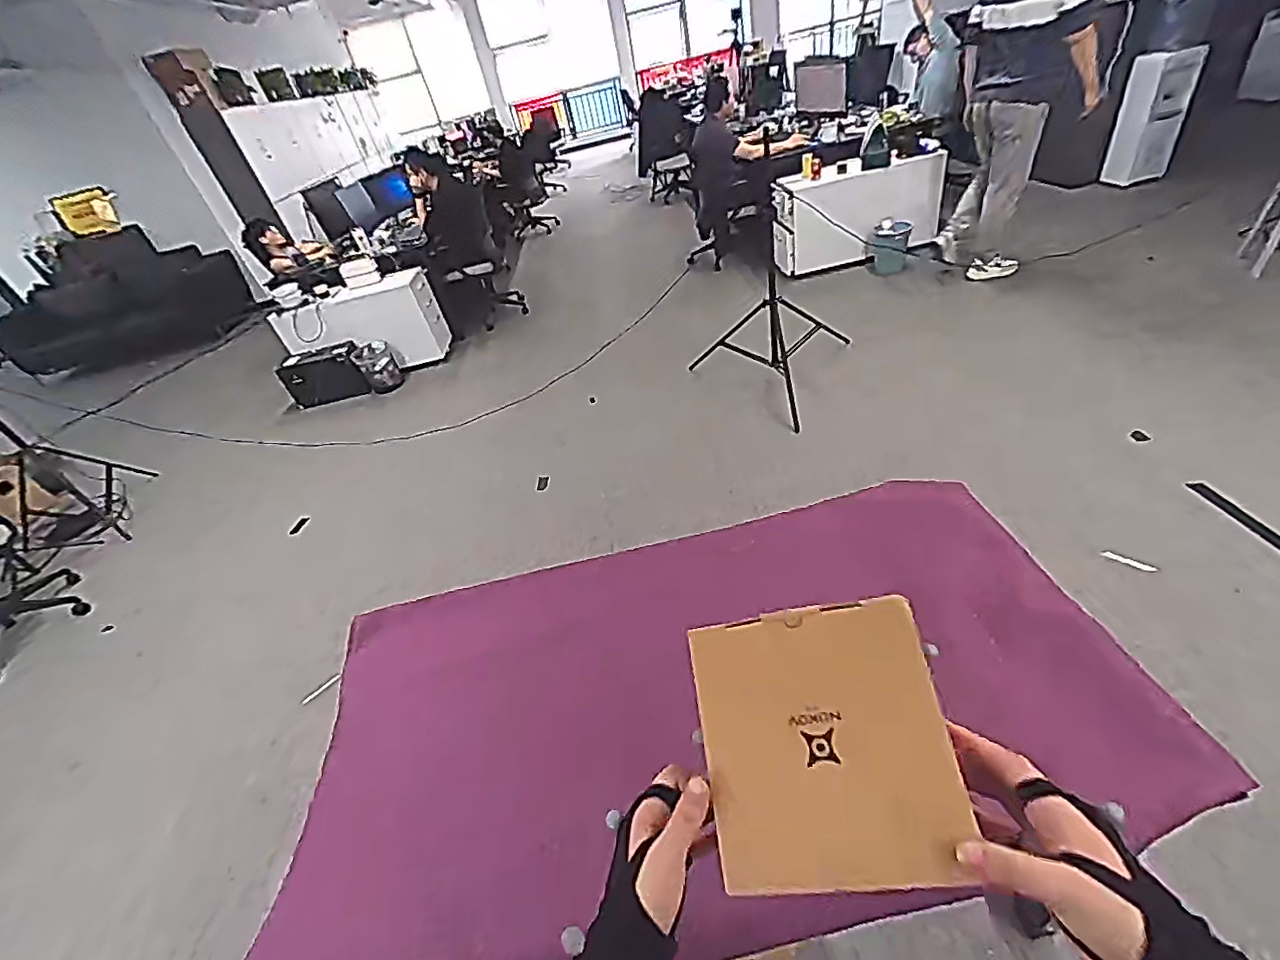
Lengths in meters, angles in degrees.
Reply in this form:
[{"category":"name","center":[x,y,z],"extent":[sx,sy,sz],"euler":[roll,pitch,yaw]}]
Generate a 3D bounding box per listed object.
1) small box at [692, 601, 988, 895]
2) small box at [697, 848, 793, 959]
[{"category":"small box","center":[0.151,0.209,0.445],"extent":[0.168,0.176,0.179],"euler":[-13,66,14]},{"category":"small box","center":[0.224,0.909,1.155],"extent":[0.168,0.176,0.179],"euler":[-11,38,3]}]
